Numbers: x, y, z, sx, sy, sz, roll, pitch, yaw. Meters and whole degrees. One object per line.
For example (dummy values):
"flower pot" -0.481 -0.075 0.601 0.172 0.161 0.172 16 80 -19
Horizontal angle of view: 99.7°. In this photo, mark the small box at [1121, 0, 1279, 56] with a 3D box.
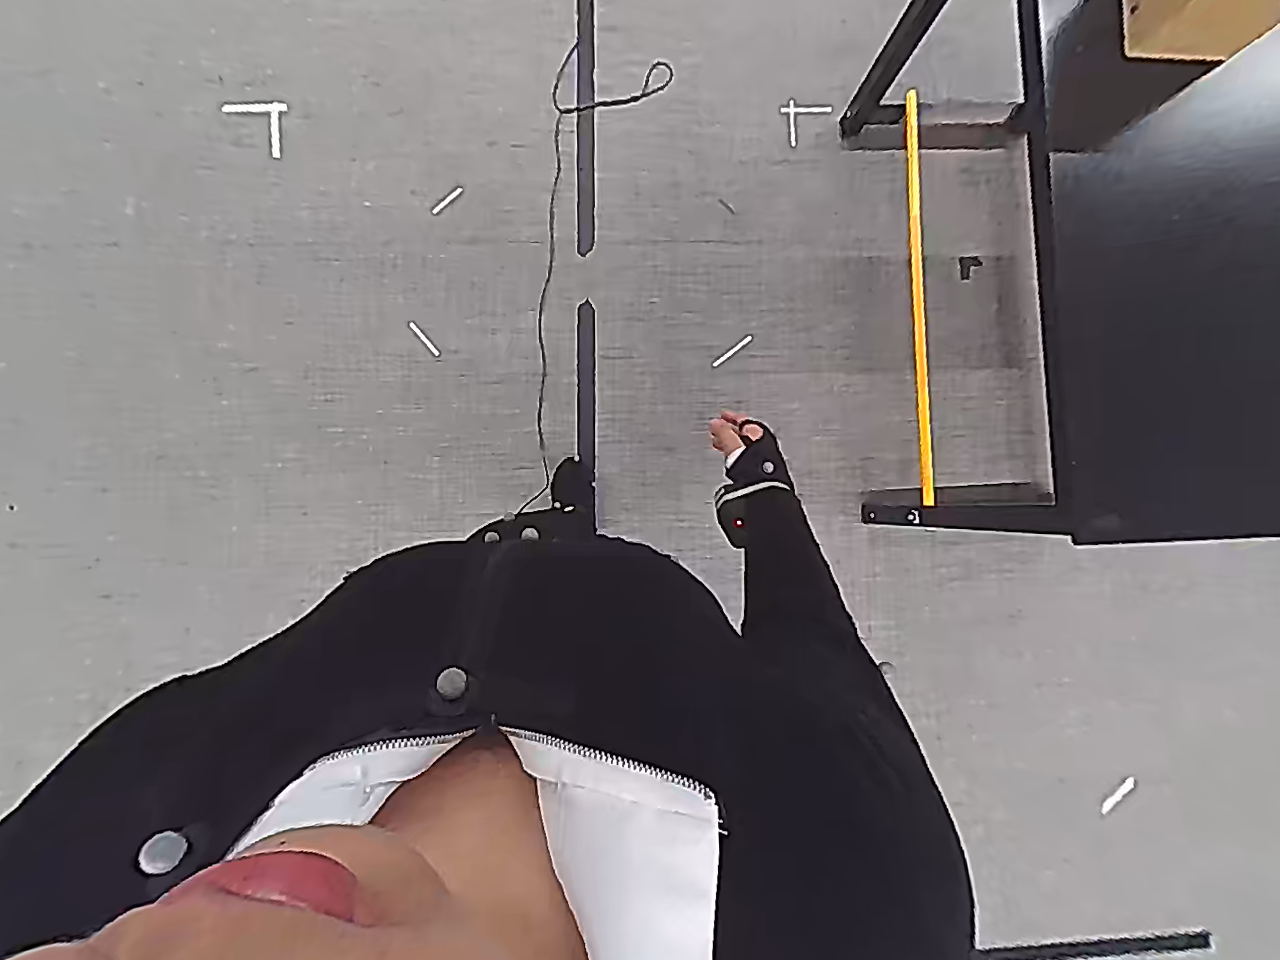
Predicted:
"small box" 0.847 -0.751 0.773 0.179 0.176 0.168 0 87 -3
